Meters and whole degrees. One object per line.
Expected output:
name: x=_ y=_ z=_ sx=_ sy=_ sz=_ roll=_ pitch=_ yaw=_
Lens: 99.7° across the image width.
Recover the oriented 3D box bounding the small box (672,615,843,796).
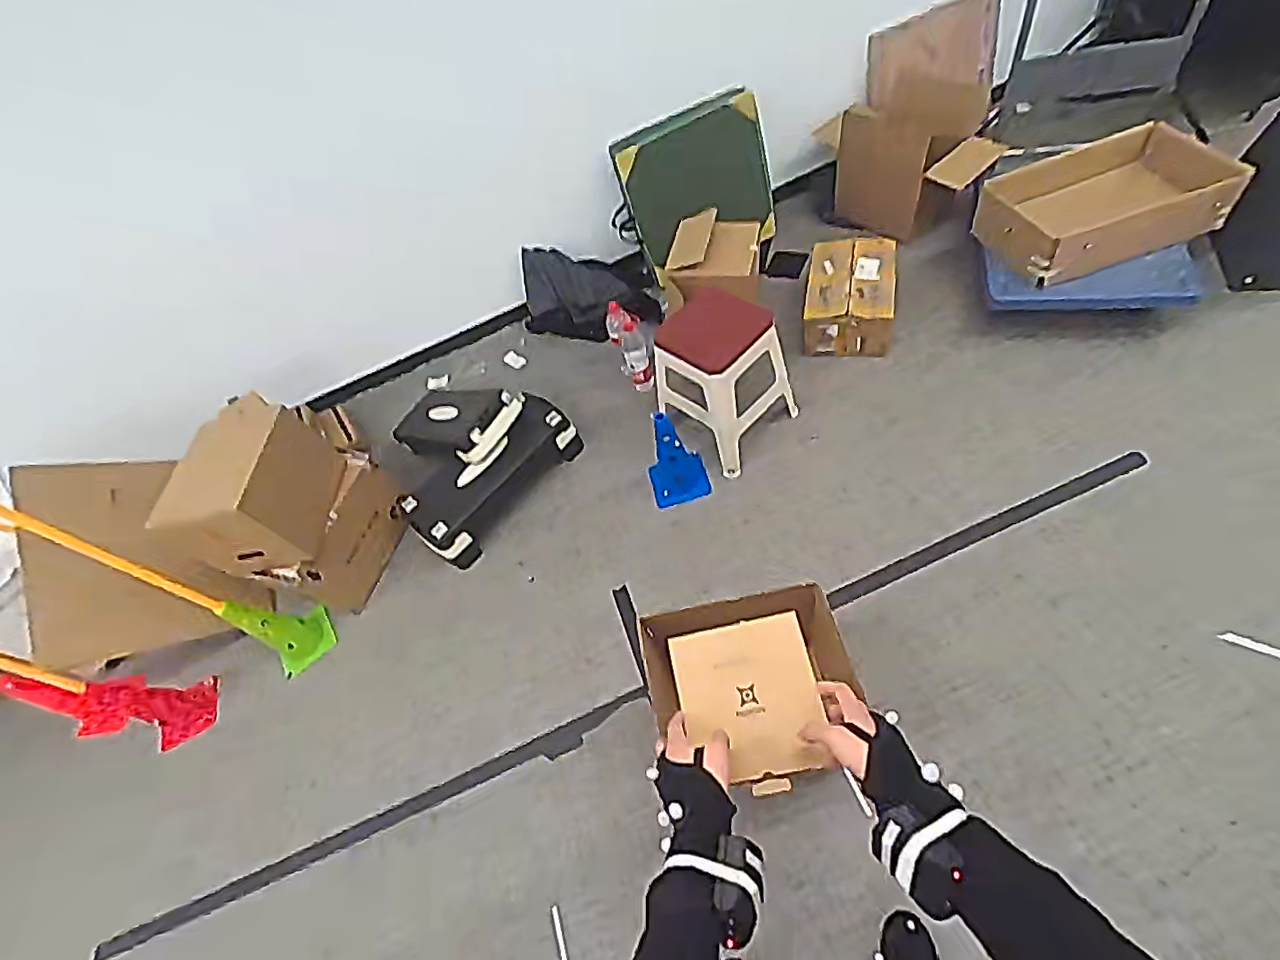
small box: x=0.149 y=0.289 z=0.707 sx=0.168 sy=0.176 sz=0.179 roll=-14 pitch=66 yaw=6
